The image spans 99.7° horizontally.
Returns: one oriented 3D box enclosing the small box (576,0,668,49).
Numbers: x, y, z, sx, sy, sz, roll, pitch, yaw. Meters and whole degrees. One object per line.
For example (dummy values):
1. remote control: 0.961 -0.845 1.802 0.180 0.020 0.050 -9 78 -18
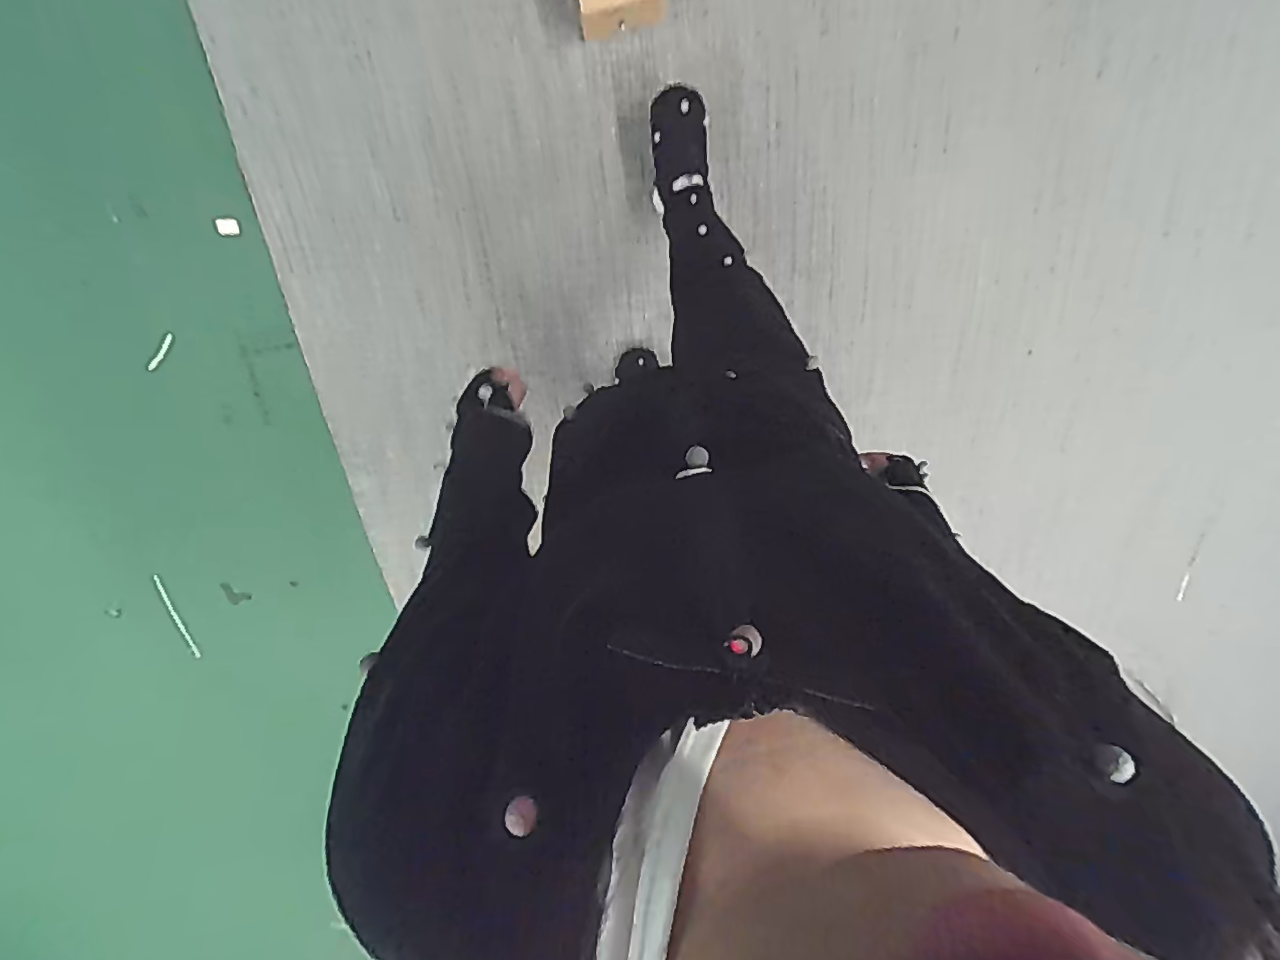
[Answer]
1. small box: -0.046 -0.961 1.032 0.168 0.176 0.179 -12 113 3
